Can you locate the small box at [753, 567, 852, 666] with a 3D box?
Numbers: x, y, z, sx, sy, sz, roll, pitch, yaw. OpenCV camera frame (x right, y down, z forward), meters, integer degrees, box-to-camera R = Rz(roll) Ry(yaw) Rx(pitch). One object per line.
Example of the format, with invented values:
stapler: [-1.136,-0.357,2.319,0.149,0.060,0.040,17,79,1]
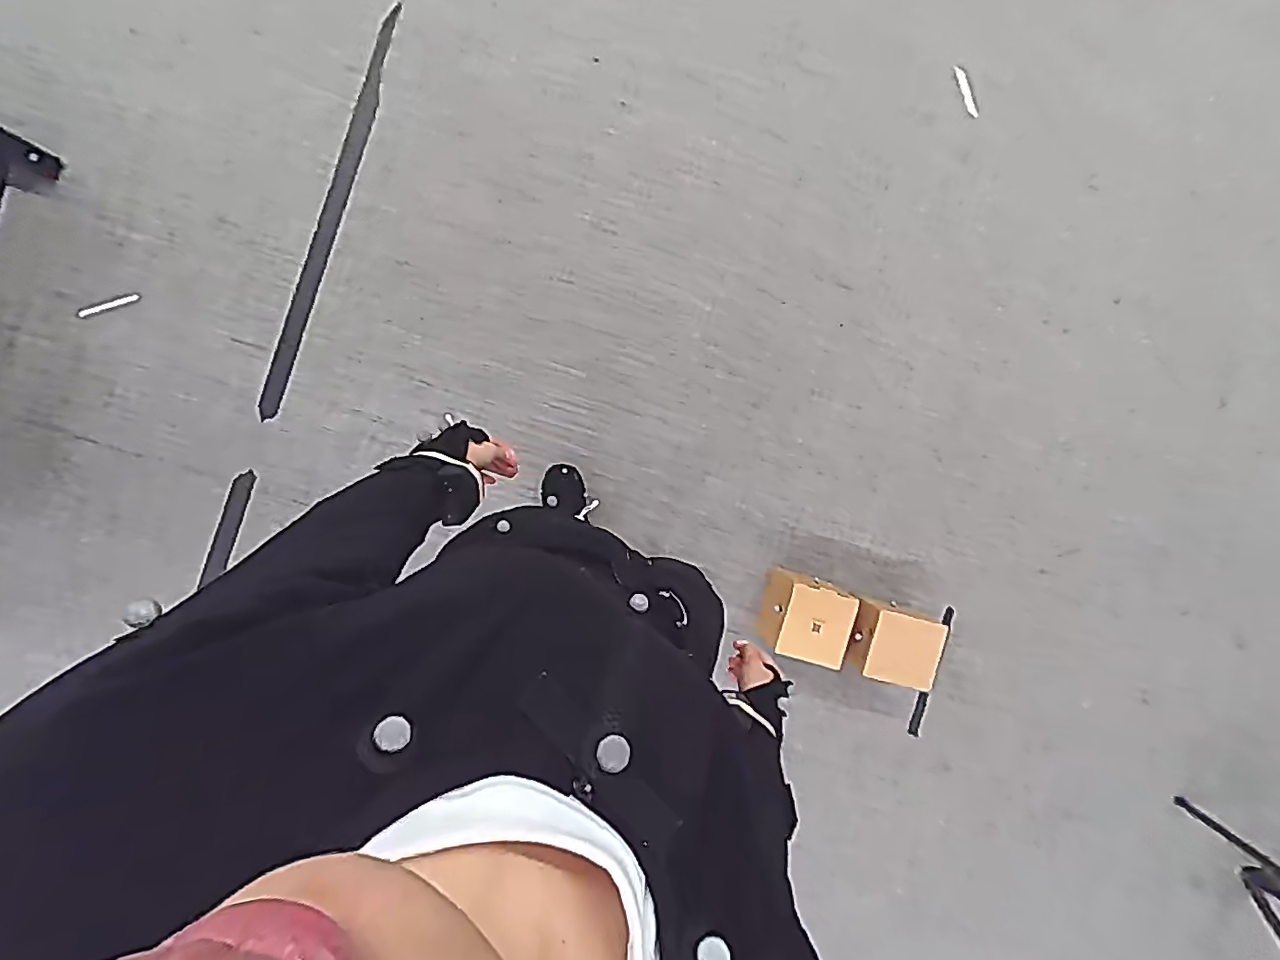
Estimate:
small box: [0.400,0.337,1.365,0.168,0.176,0.179,17,91,-5]

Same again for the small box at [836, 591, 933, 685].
small box: [0.615,0.400,1.379,0.179,0.176,0.168,16,91,-5]
